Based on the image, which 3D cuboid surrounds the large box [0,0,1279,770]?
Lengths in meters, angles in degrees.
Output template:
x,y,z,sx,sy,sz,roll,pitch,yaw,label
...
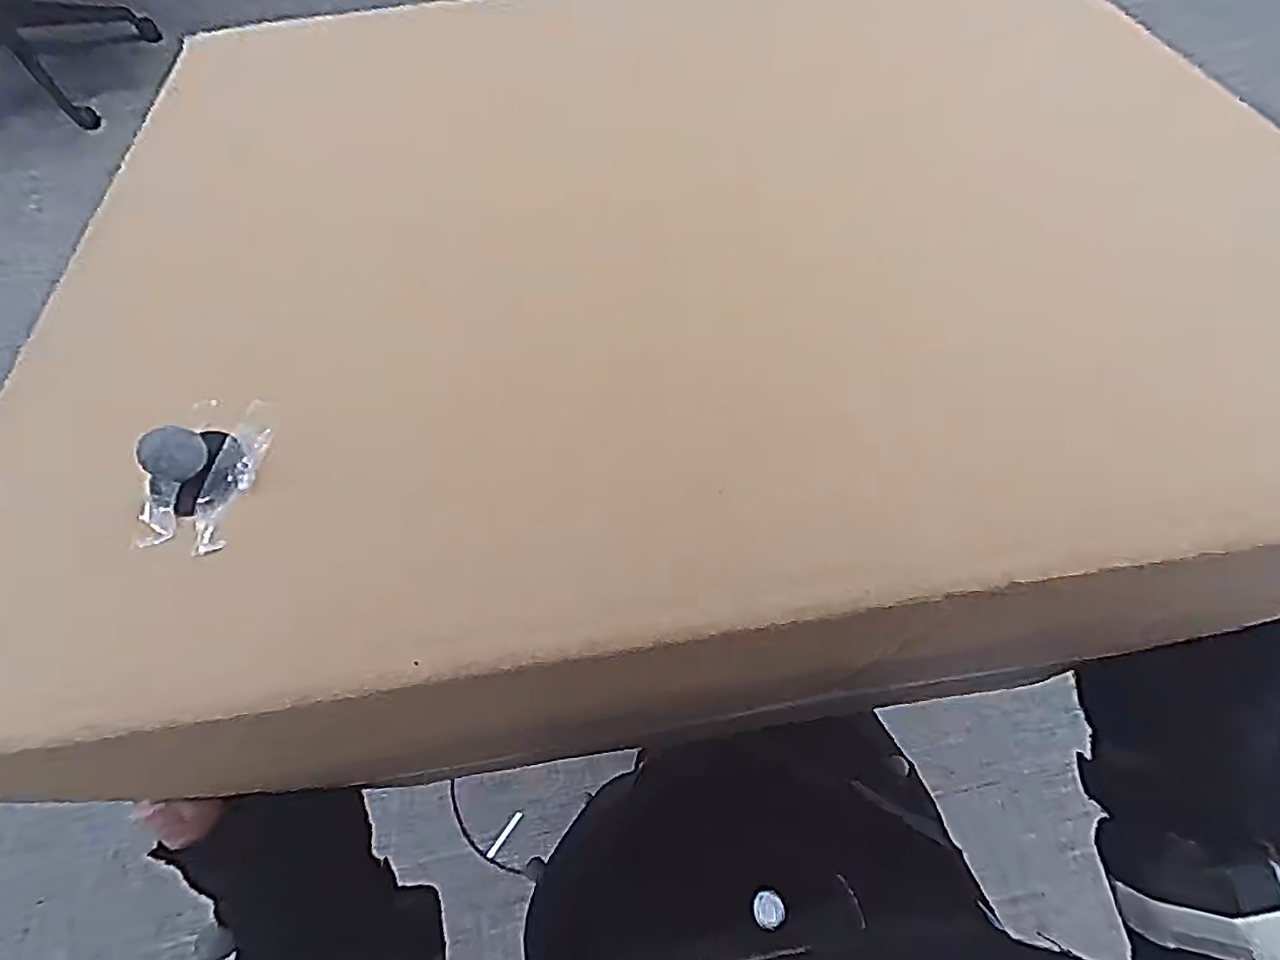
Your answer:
x,y,z,sx,sy,sz,roll,pitch,yaw,label
0.021,-0.034,0.326,0.408,0.320,0.320,-9,62,-1,large box
